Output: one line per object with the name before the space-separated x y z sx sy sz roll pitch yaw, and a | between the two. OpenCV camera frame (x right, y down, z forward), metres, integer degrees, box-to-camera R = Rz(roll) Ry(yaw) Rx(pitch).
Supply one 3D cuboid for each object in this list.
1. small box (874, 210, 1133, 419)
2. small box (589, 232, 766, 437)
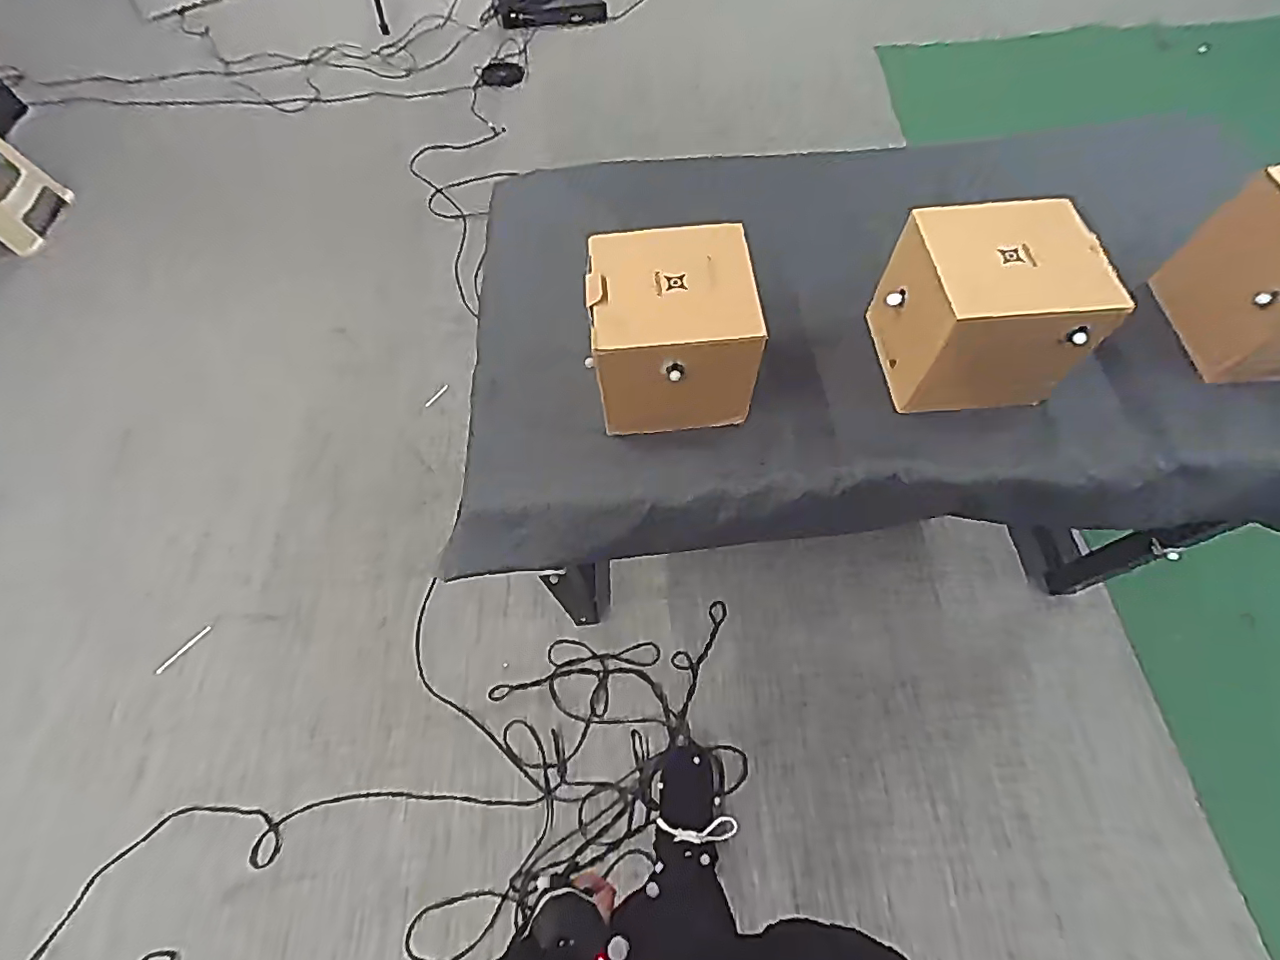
small box | 0.394 -0.184 0.634 0.179 0.176 0.168 -3 62 1
small box | 0.037 -0.162 0.640 0.179 0.176 0.168 -4 63 -1
